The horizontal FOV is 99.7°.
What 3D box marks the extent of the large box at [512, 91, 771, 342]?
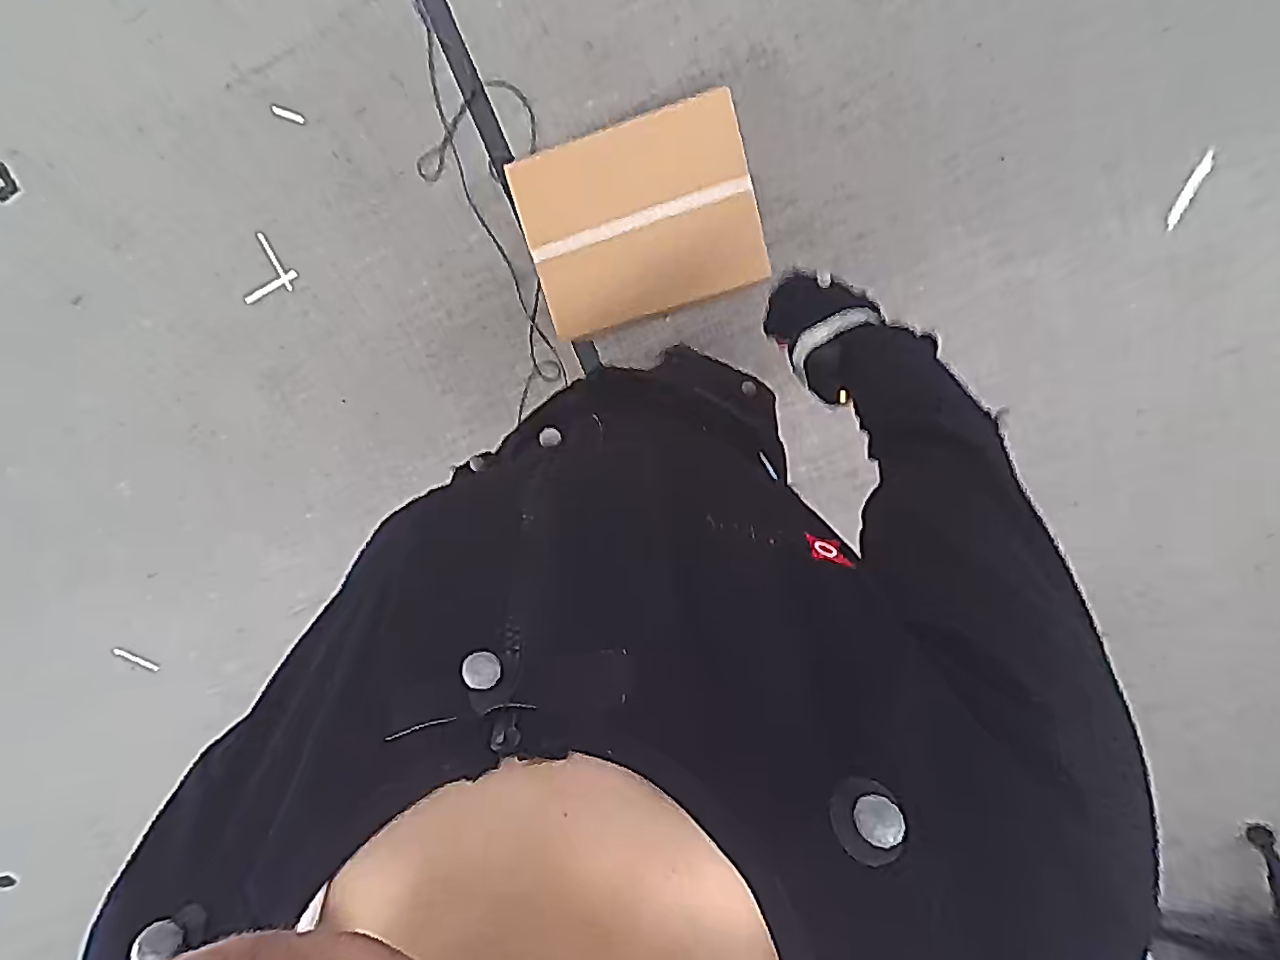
[{"bbox_3d":[0.013,-0.490,1.101,0.408,0.320,0.320,-15,104,8],"label":"large box"}]
